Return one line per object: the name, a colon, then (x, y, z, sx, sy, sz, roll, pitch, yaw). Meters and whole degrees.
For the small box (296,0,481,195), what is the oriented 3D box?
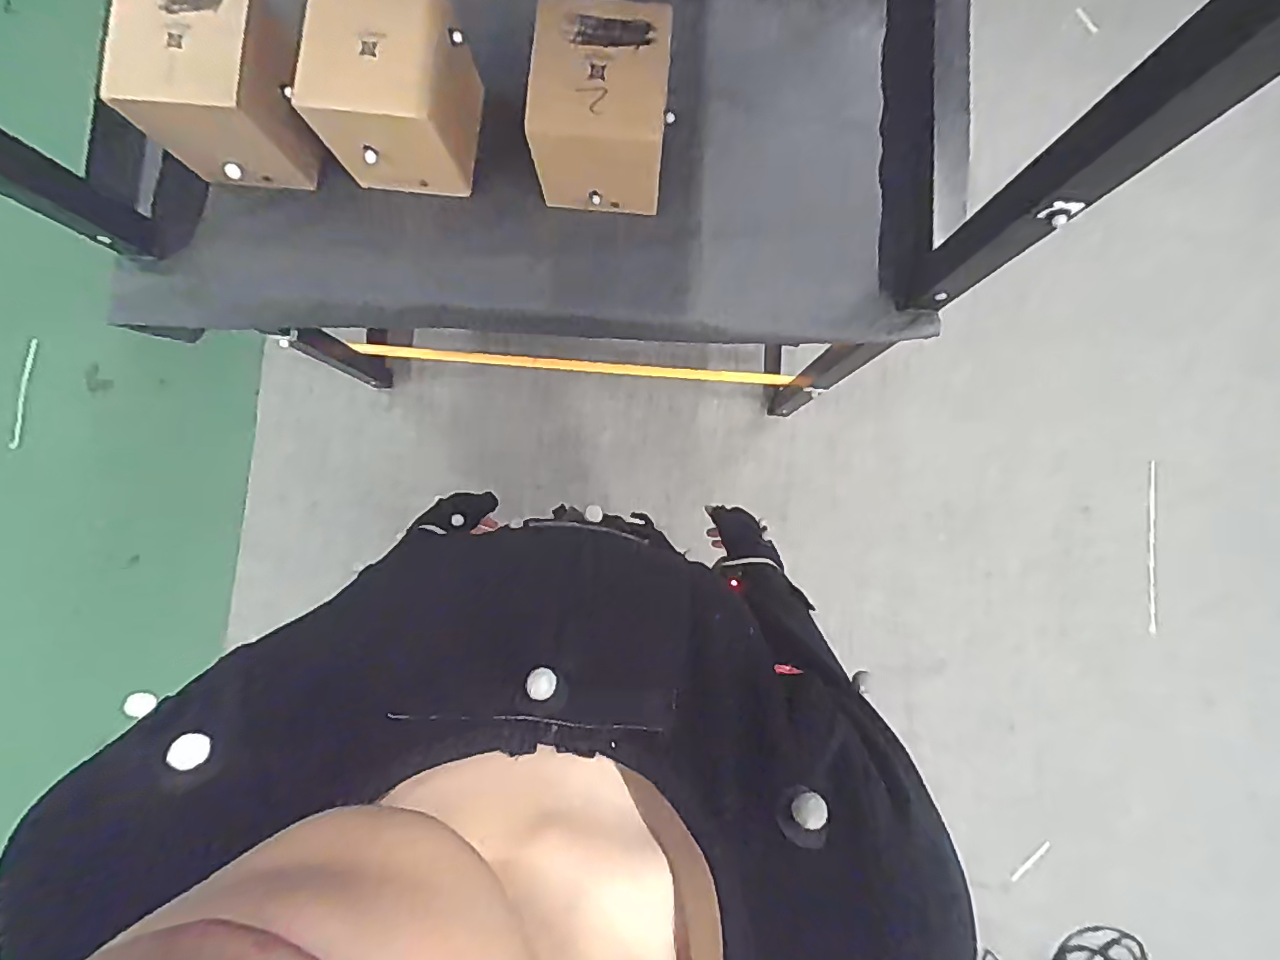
small box: (-0.326, -0.521, 0.737, 0.168, 0.176, 0.179, 5, 85, 0)

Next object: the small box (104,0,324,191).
small box: (-0.554, -0.530, 0.733, 0.168, 0.176, 0.179, 4, 86, 0)
